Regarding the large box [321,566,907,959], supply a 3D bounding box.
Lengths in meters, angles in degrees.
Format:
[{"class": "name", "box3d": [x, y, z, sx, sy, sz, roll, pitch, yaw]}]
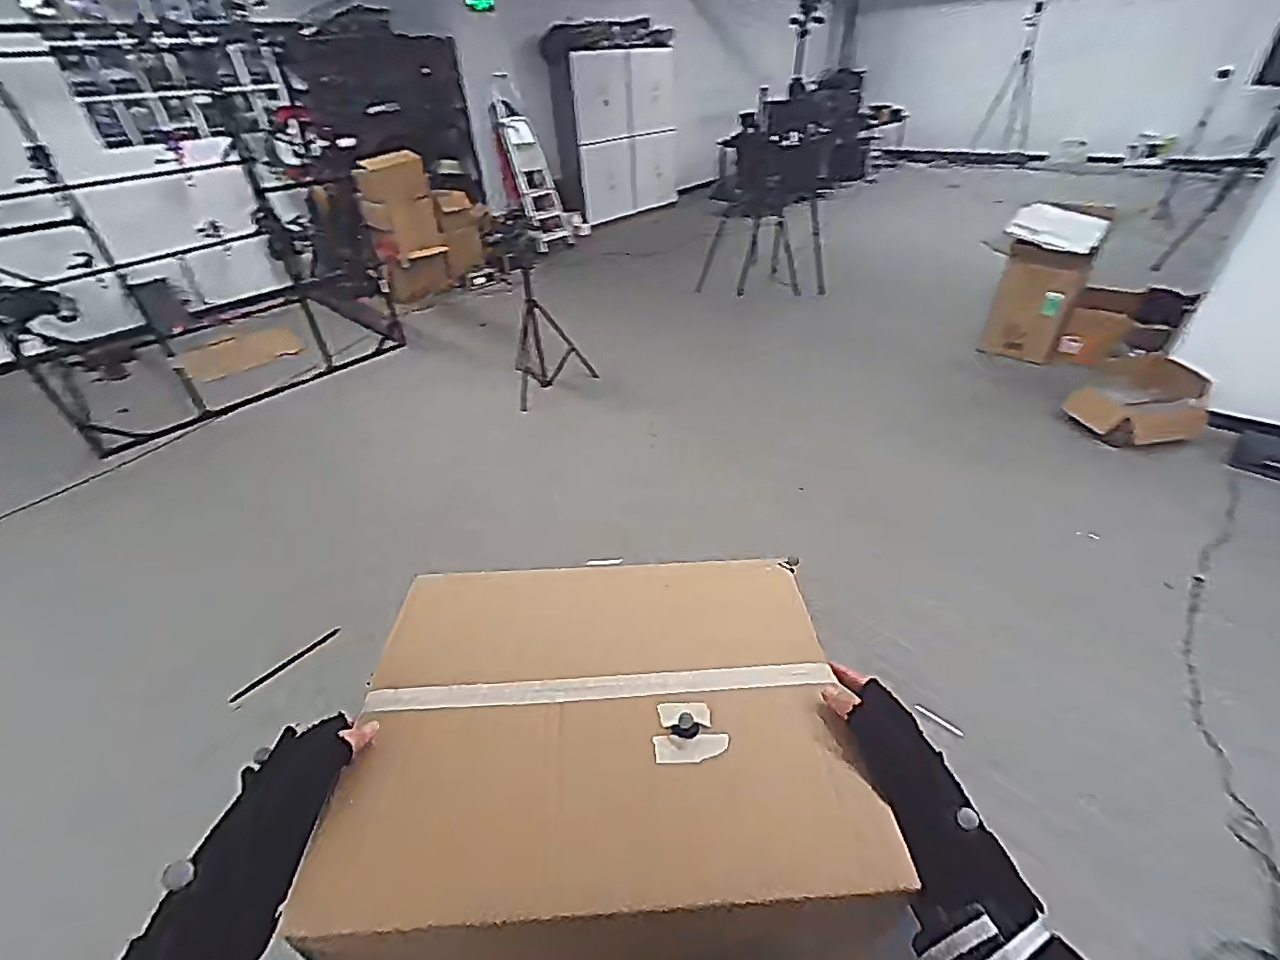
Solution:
[{"class": "large box", "box3d": [-0.021, 0.312, 0.564, 0.408, 0.320, 0.320, -1, 34, -2]}]
